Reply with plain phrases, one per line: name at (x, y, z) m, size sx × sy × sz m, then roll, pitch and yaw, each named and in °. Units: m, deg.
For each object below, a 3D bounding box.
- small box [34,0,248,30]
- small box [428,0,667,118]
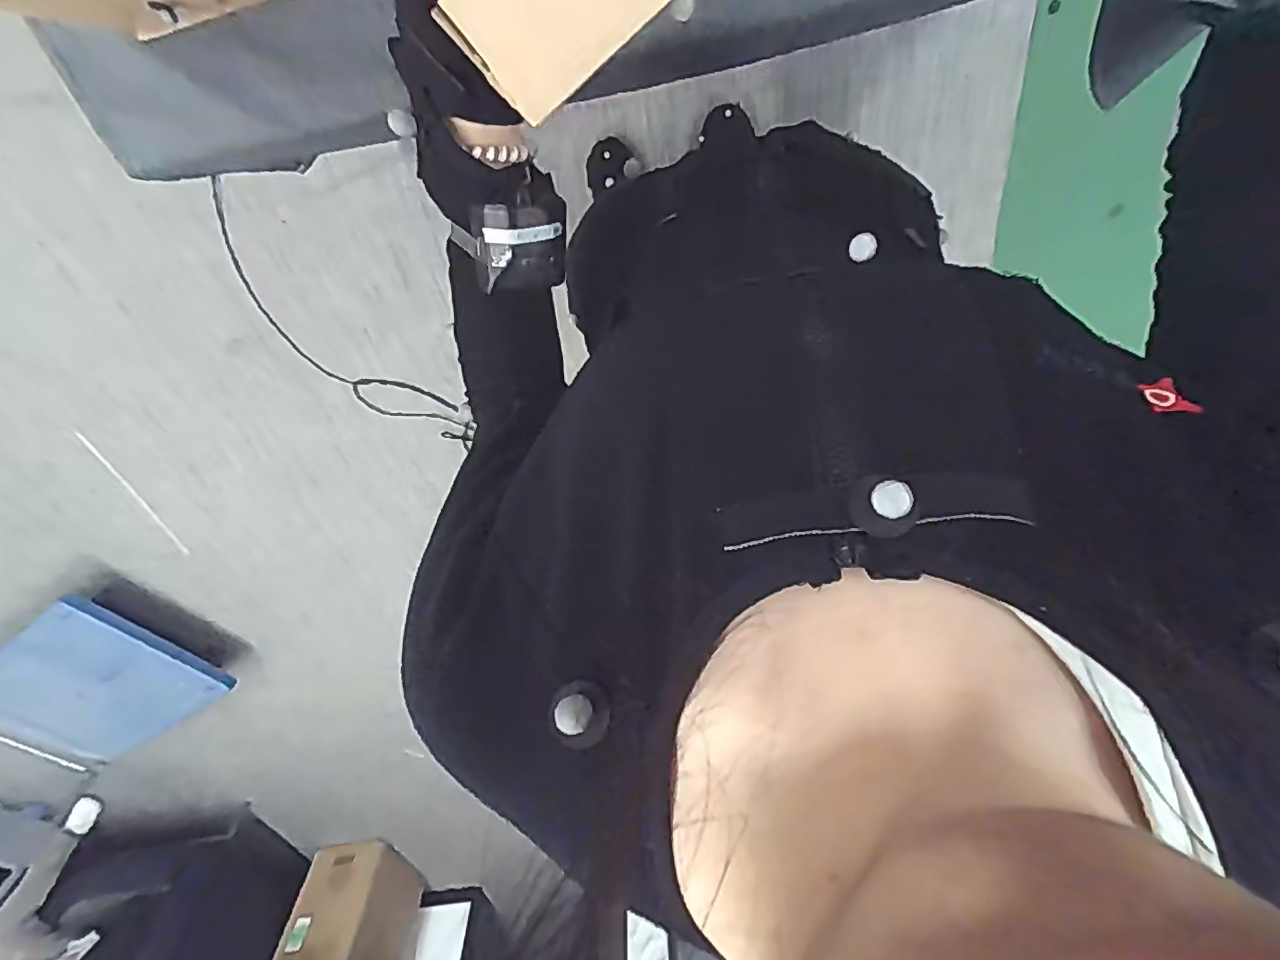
small box at (-0.409, -0.461, 0.385) m, size 0.168 × 0.176 × 0.179 m, roll -12°, pitch 123°, yaw 6°
small box at (-0.016, -0.282, 0.177) m, size 0.179 × 0.176 × 0.168 m, roll 0°, pitch 151°, yaw 48°
